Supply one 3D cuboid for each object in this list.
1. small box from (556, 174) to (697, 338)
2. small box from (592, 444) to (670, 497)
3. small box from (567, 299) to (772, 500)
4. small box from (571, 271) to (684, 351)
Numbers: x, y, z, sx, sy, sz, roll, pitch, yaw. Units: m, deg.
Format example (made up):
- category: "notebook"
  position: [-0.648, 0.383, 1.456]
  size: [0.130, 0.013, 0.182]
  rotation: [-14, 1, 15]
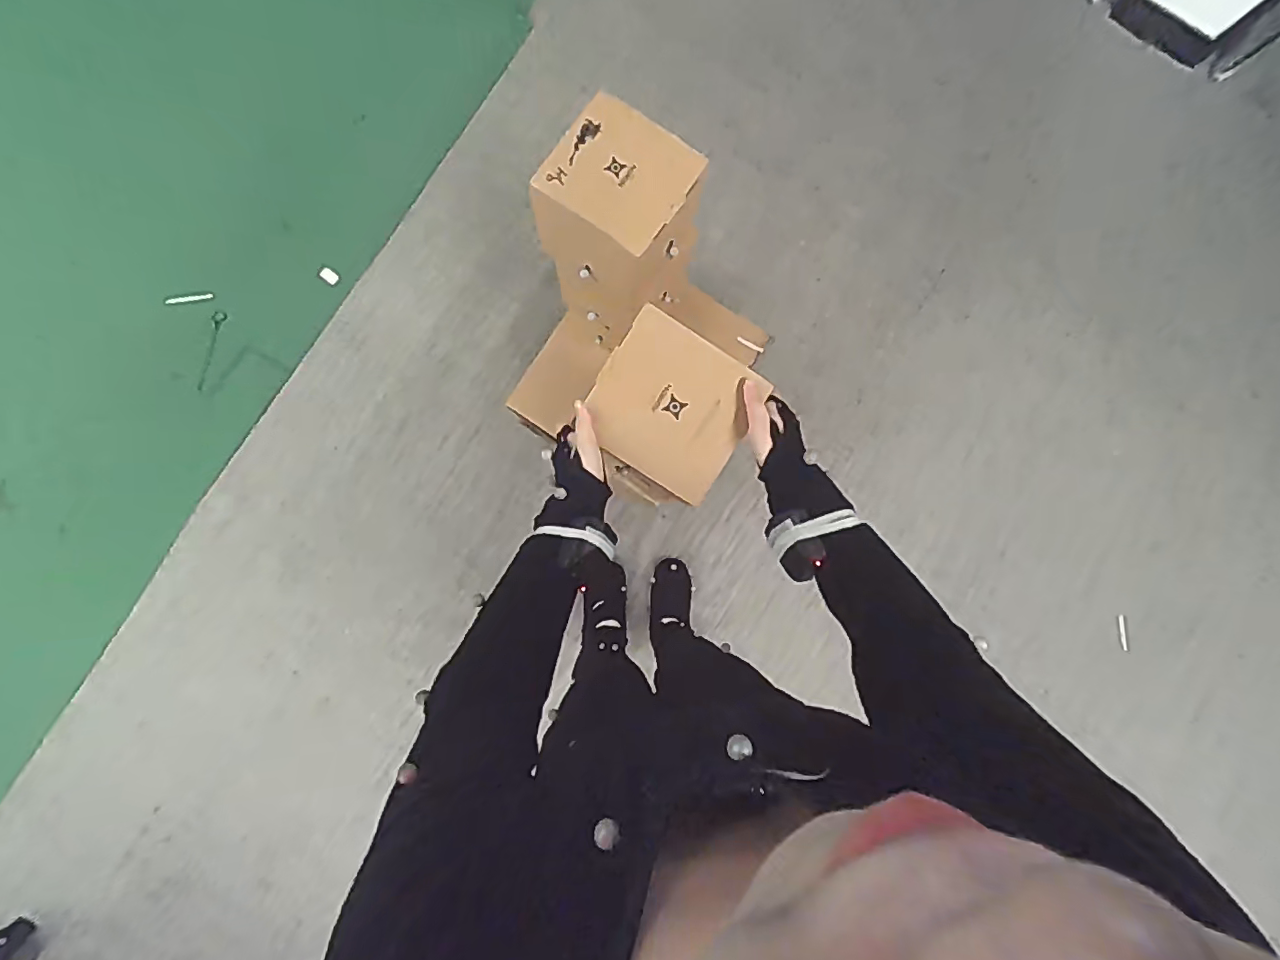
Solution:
- category: "small box"
  position: [-0.027, -0.371, 0.939]
  size: [0.168, 0.176, 0.179]
  rotation: [36, 84, 0]
- category: "small box"
  position: [0.024, -0.089, 0.924]
  size: [0.168, 0.176, 0.179]
  rotation: [37, 87, -2]
- category: "small box"
  position: [0.029, -0.089, 0.678]
  size: [0.179, 0.176, 0.168]
  rotation: [32, 89, -3]
- category: "small box"
  position: [-0.034, -0.374, 1.104]
  size: [0.168, 0.176, 0.179]
  rotation: [33, 84, 0]
